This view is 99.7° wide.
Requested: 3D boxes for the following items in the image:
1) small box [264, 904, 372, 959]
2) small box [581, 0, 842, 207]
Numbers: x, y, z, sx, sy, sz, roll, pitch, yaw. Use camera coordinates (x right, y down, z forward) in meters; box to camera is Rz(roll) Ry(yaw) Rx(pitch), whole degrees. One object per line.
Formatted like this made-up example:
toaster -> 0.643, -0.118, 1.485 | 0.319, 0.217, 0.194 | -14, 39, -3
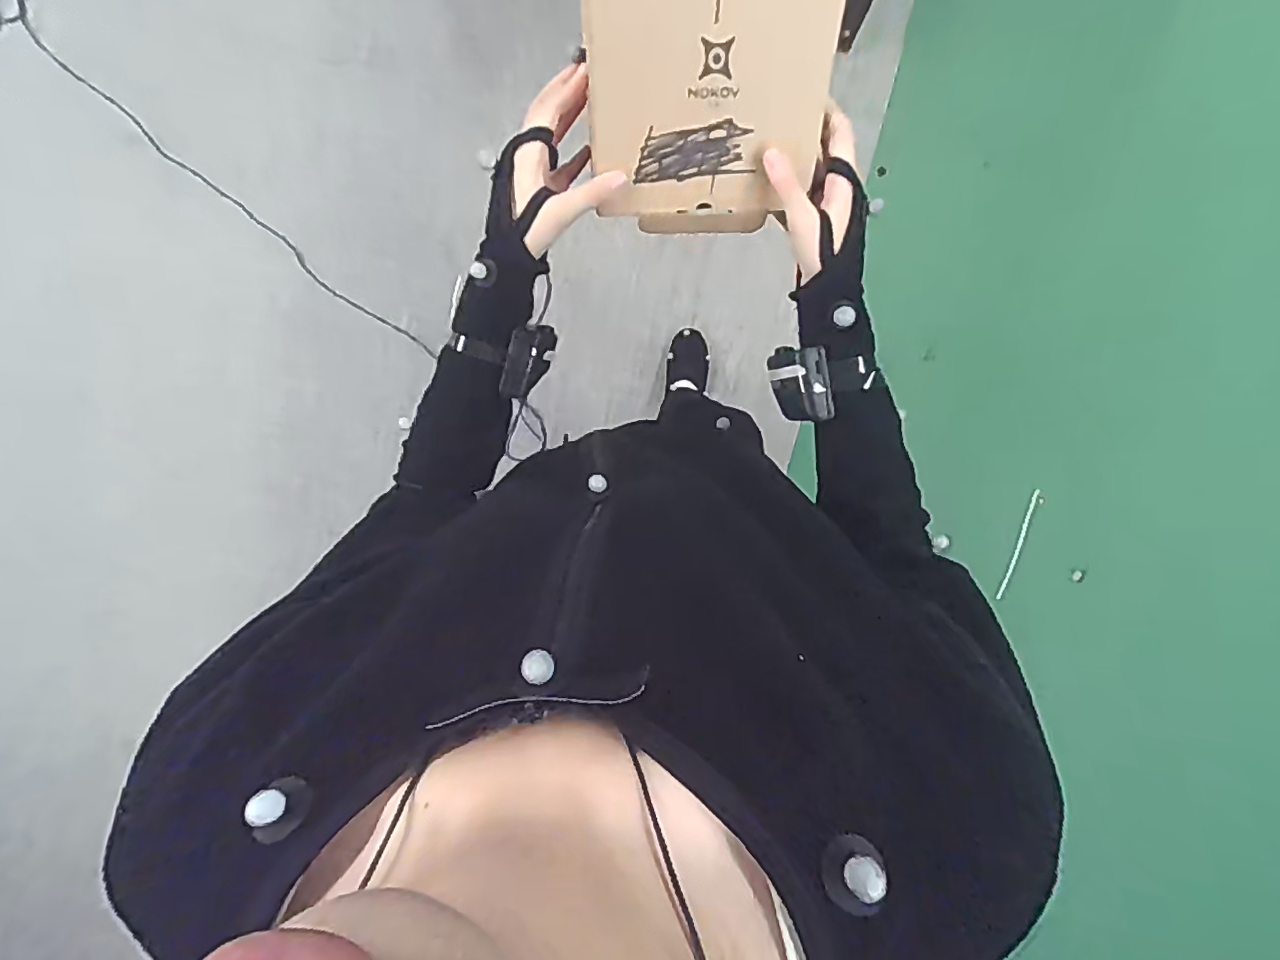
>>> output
small box -> -0.704, 1.066, 1.163 | 0.168, 0.176, 0.179 | 8, 94, 2
small box -> 0.039, -0.330, 0.423 | 0.168, 0.176, 0.179 | -4, 130, -5
